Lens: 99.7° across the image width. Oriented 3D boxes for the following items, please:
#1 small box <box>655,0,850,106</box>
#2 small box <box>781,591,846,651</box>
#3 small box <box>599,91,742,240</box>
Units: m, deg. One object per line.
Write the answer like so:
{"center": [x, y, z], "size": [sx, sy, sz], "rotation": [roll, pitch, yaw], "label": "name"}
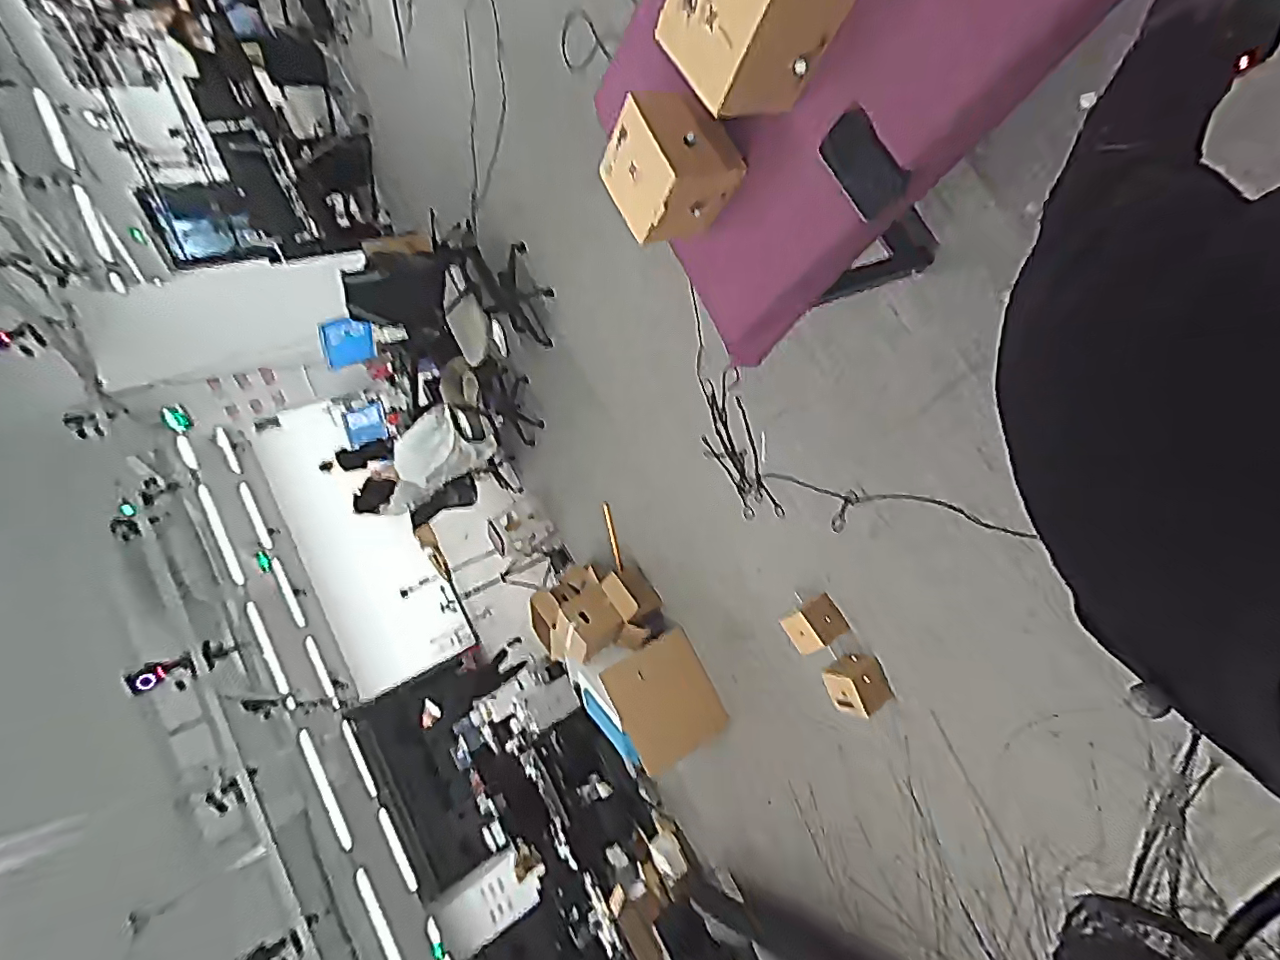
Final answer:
{"center": [0.156, -0.669, 0.764], "size": [0.179, 0.176, 0.168], "rotation": [59, 151, 10], "label": "small box"}
{"center": [0.738, 0.593, 2.280], "size": [0.168, 0.176, 0.179], "rotation": [57, 151, 14], "label": "small box"}
{"center": [0.056, -0.583, 0.998], "size": [0.179, 0.176, 0.168], "rotation": [62, 152, 6], "label": "small box"}
